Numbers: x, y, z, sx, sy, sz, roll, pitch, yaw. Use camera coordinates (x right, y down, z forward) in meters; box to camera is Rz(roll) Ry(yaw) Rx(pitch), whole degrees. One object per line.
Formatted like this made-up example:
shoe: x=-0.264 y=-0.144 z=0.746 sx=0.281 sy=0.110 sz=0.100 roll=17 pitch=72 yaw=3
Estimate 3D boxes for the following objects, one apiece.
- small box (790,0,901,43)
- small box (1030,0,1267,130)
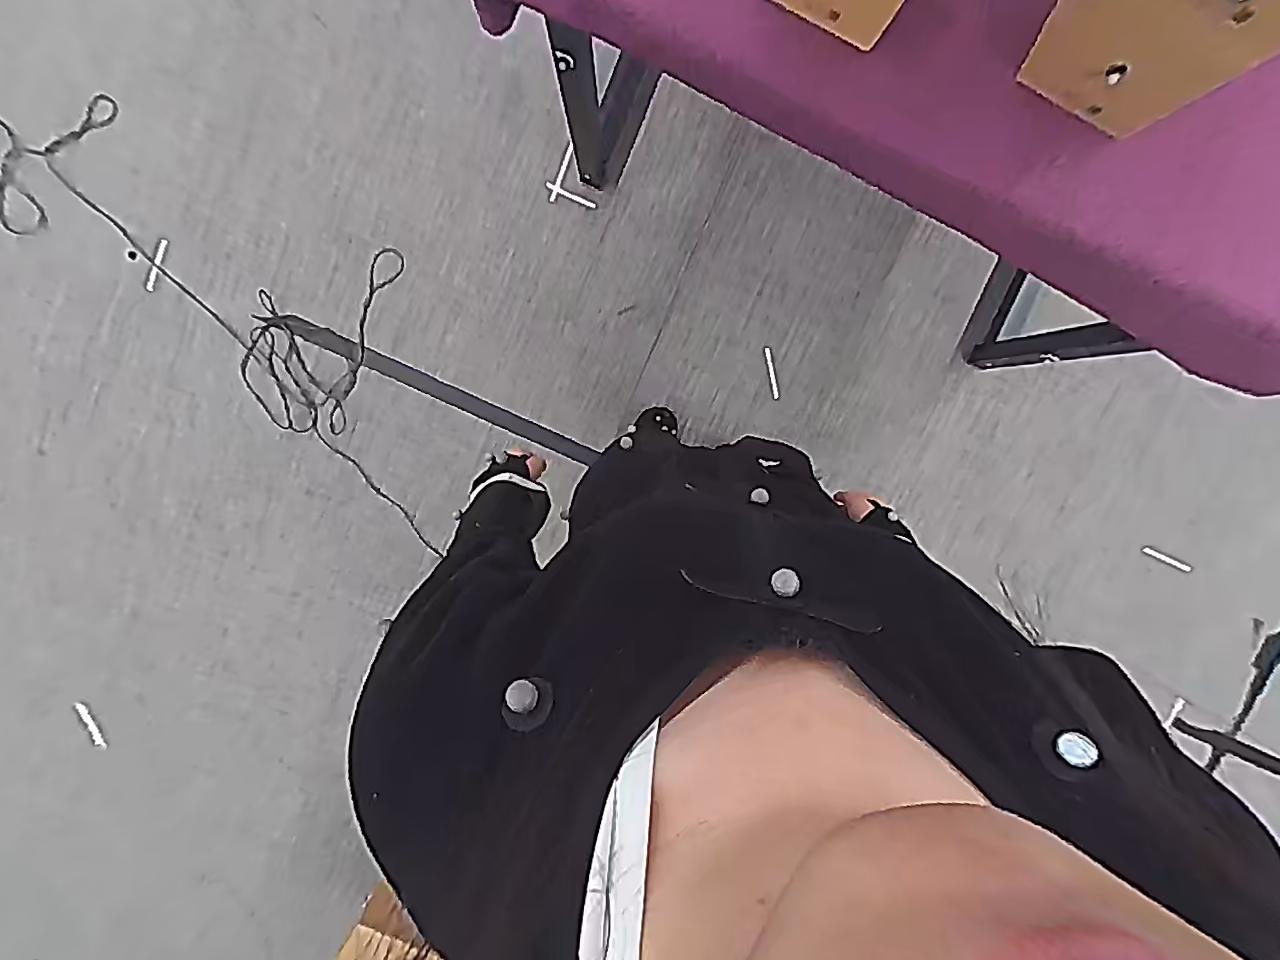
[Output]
small box: x=0.257 y=-0.647 z=0.595 sx=0.168 sy=0.176 sz=0.179 roll=24 pitch=95 yaw=-5
small box: x=0.598 y=-0.550 z=0.615 sx=0.168 sy=0.176 sz=0.179 roll=26 pitch=96 yaw=-5
